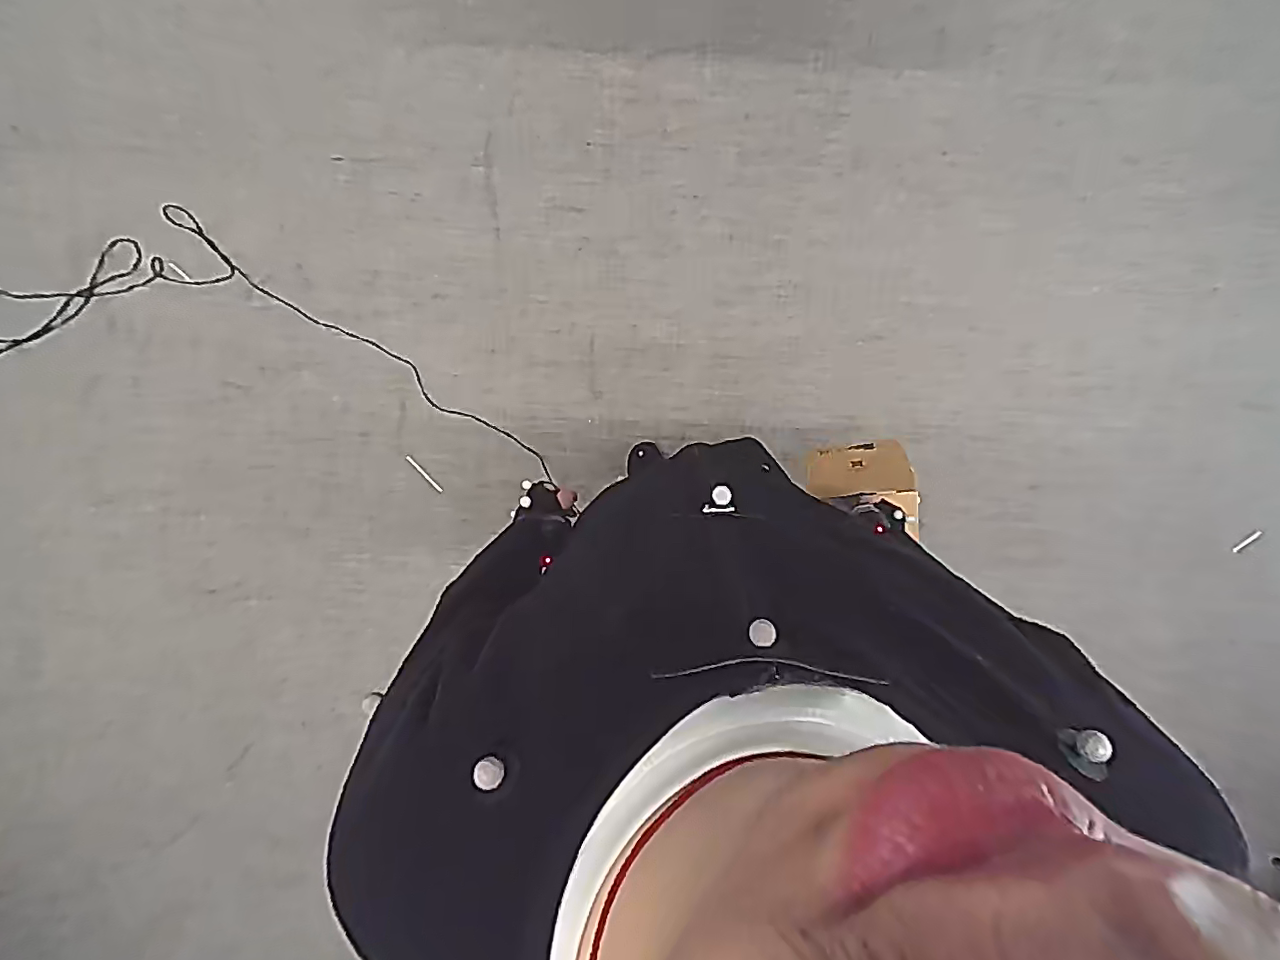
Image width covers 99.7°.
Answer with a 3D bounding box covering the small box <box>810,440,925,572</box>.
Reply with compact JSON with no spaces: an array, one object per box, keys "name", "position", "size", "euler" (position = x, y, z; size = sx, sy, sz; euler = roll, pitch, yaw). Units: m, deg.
[{"name":"small box","position":[0.404,0.053,0.970],"size":[0.168,0.179,0.176],"euler":[-8,121,20]}]
